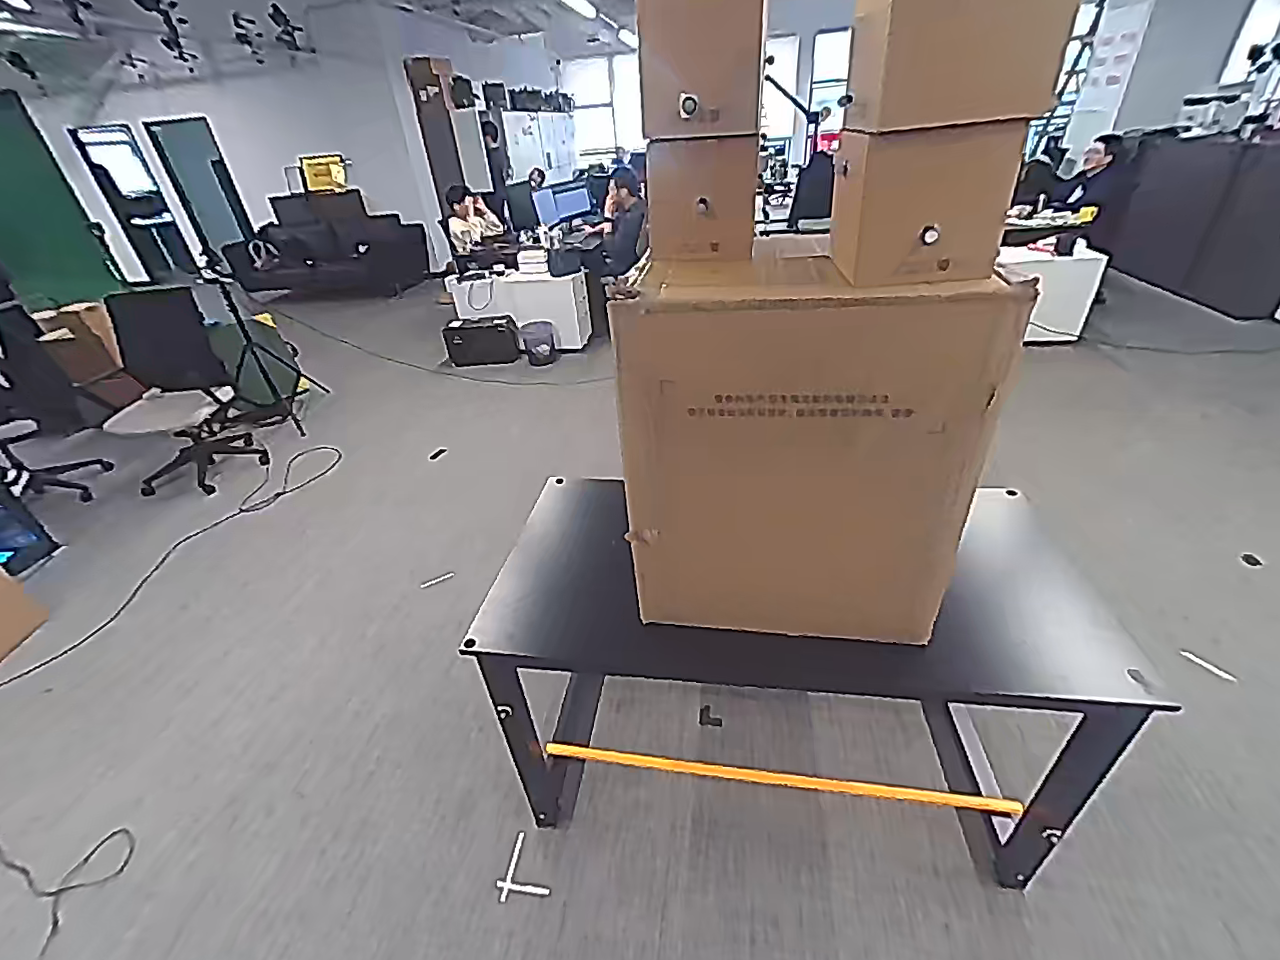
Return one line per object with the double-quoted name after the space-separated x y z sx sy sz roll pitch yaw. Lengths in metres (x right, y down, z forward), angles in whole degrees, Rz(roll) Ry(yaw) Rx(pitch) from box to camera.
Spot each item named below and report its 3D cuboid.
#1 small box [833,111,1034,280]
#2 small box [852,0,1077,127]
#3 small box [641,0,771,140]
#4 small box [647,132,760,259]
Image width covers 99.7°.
0.352 -0.363 0.692 0.168 0.176 0.179 -2 34 9 "small box"
0.338 -0.486 0.582 0.179 0.176 0.168 -1 34 7 "small box"
0.099 -0.592 0.778 0.168 0.176 0.179 3 34 12 "small box"
0.109 -0.464 0.880 0.168 0.176 0.179 3 34 10 "small box"
